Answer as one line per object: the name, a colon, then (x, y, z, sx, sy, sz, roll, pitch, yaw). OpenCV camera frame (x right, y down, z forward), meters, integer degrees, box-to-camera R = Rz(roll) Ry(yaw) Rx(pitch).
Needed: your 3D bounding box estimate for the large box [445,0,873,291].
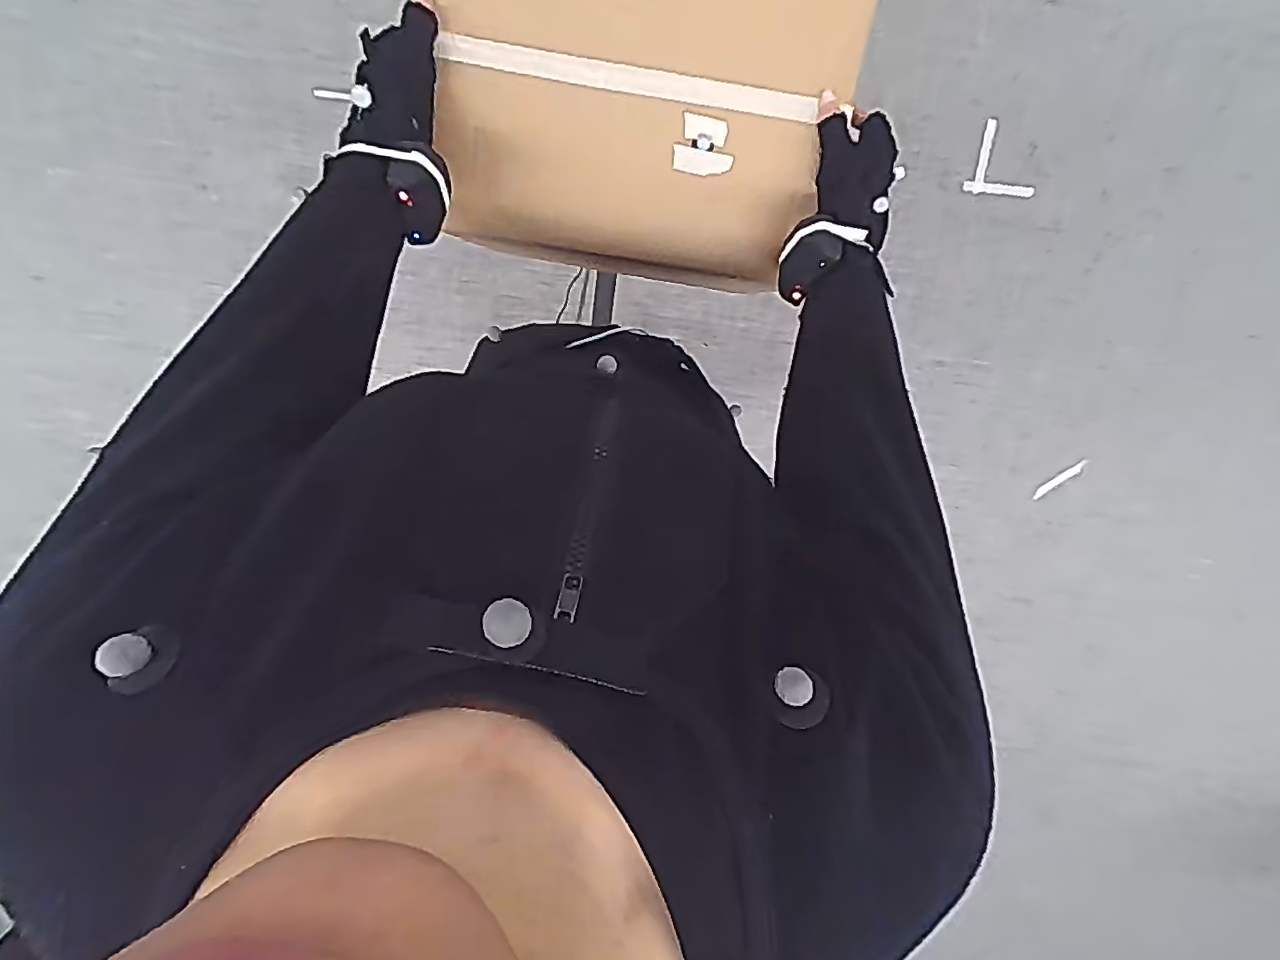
large box: (0.005, -0.426, 0.674, 0.408, 0.320, 0.320, 8, 109, -4)
